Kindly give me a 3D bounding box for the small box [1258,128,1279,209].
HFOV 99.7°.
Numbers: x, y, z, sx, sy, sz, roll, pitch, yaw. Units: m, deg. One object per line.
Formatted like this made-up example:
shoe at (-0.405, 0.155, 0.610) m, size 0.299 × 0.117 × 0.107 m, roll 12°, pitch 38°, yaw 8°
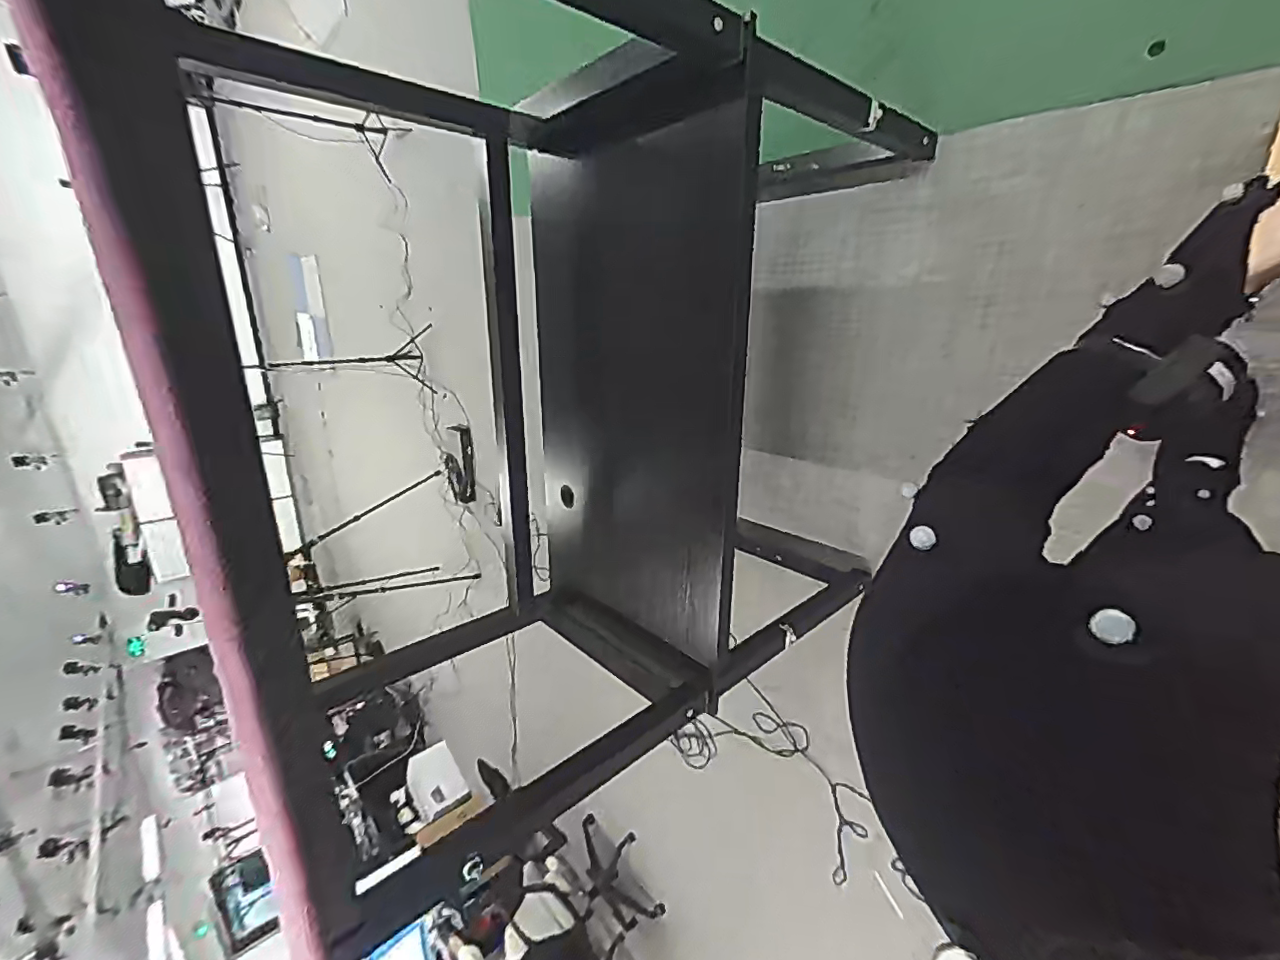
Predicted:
small box at (0.930, -0.448, 0.679) m, size 0.168 × 0.176 × 0.179 m, roll 18°, pitch 114°, yaw 46°
